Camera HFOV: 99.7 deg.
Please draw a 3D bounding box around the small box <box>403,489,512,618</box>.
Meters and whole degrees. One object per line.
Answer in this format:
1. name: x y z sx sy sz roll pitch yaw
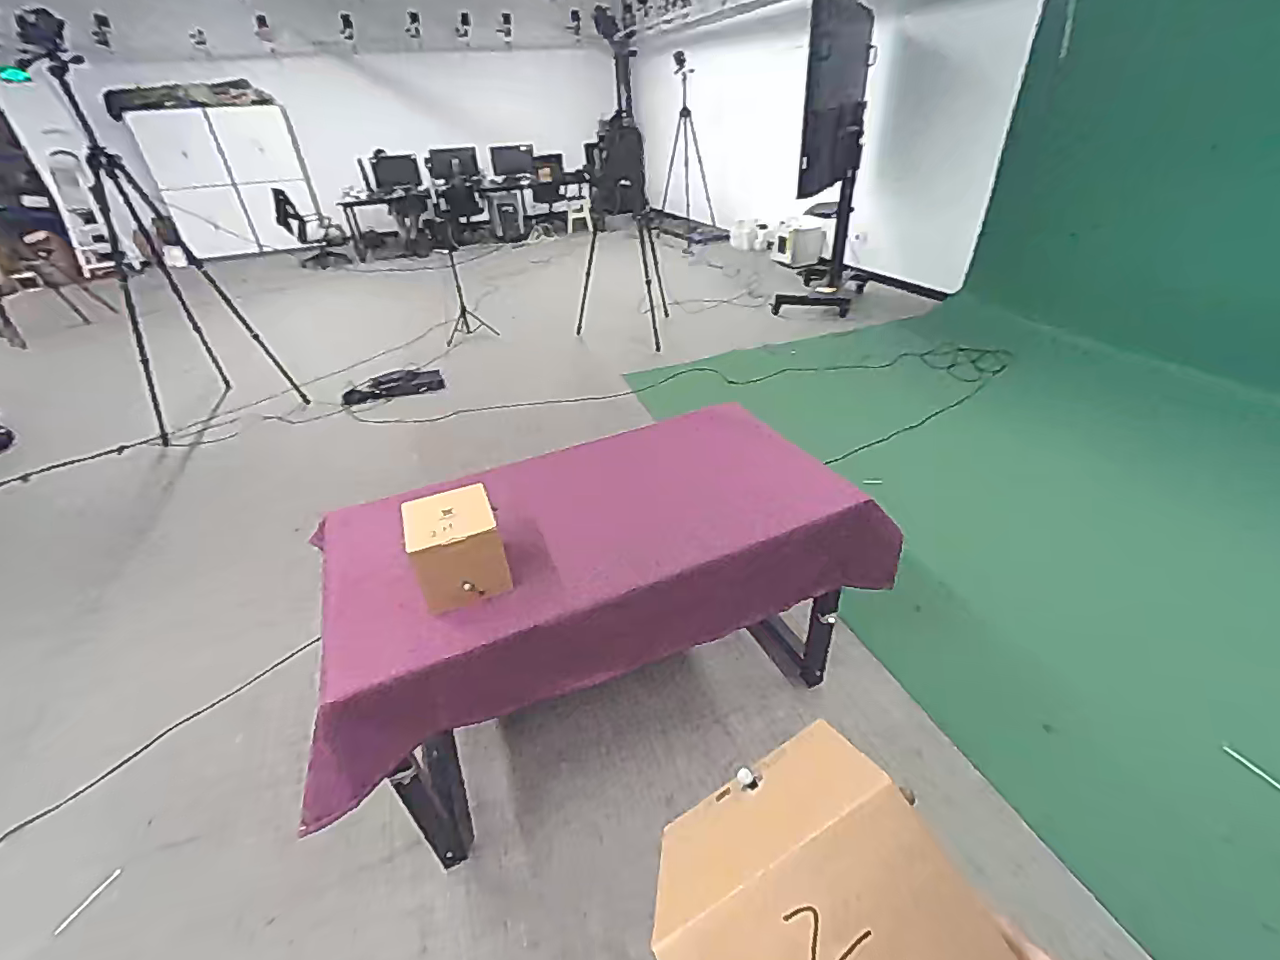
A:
1. small box: -0.372 0.147 1.104 0.168 0.176 0.179 -17 36 -17
